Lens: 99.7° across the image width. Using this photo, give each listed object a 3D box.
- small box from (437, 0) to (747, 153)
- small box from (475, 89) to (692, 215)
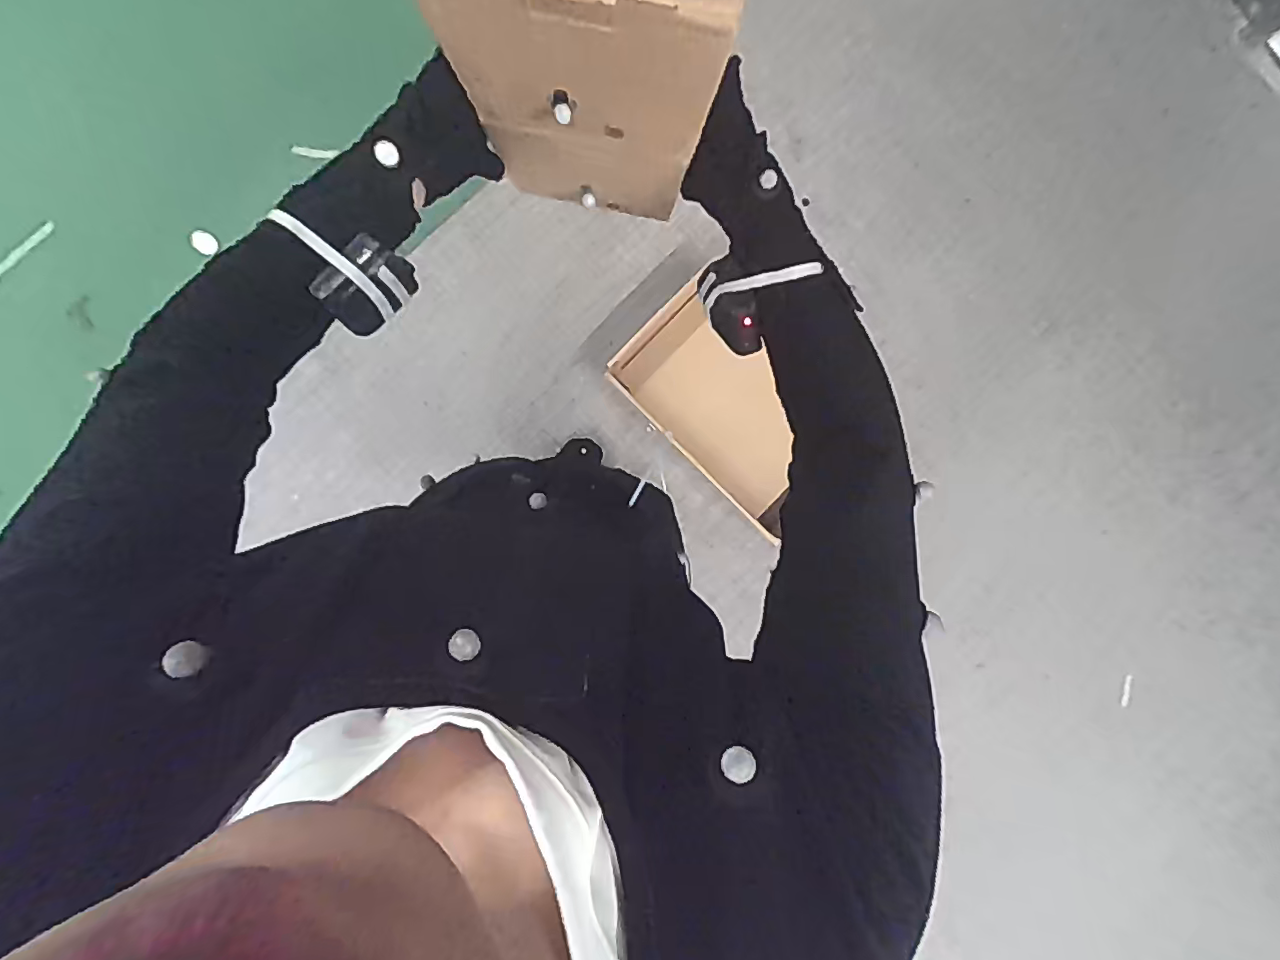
[{"bbox_3d":[-0.024,-0.326,0.311,0.168,0.176,0.179,7,102,-5],"label":"small box"},{"bbox_3d":[-0.033,-0.358,0.471,0.168,0.176,0.179,9,102,-5],"label":"small box"}]
